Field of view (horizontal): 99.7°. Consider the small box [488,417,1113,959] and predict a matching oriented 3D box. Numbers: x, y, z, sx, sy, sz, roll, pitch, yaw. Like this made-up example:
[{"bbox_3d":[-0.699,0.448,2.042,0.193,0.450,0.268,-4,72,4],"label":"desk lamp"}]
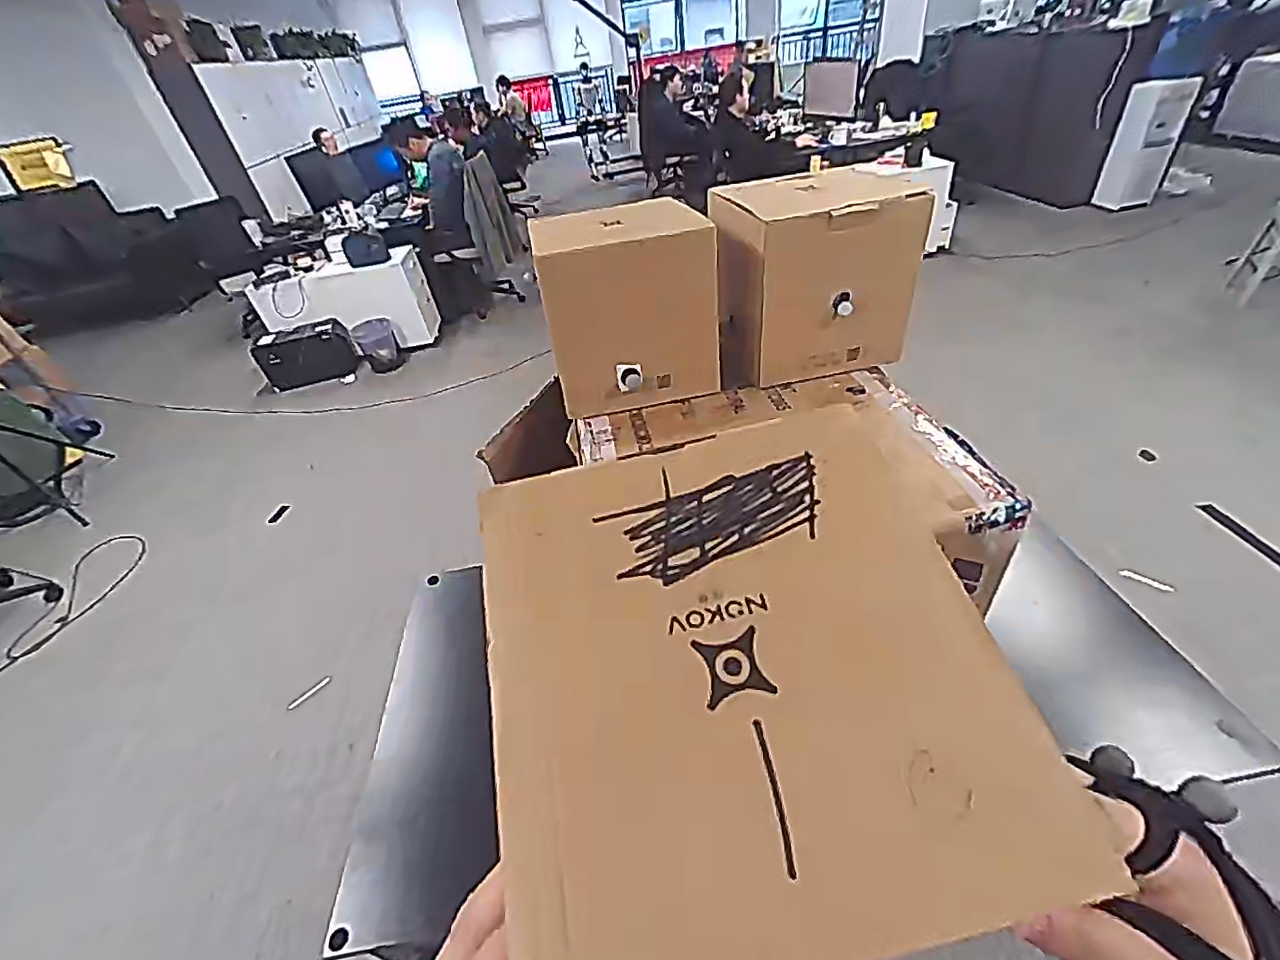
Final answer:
[{"bbox_3d":[0.038,0.102,0.253,0.168,0.176,0.179,-14,55,-2],"label":"small box"}]
